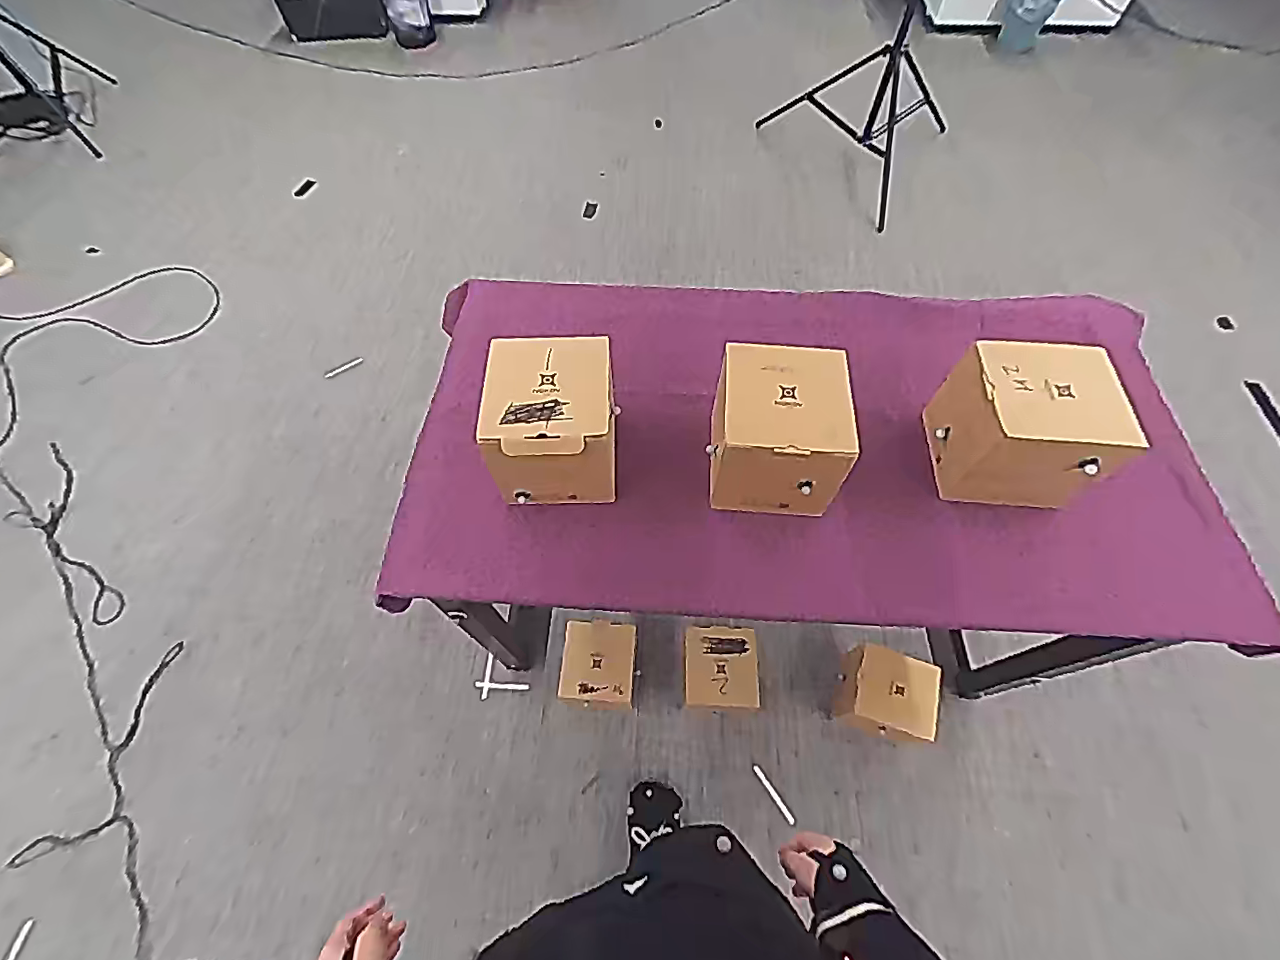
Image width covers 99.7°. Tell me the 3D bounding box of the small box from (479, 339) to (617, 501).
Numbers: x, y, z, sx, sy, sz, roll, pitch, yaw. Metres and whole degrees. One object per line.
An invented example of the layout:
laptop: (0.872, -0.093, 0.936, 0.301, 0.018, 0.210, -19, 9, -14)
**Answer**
small box: (-0.119, -0.079, 0.775, 0.168, 0.176, 0.179, -1, 58, -1)

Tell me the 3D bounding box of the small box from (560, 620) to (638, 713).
small box: (-0.093, 0.456, 1.313, 0.168, 0.176, 0.179, 4, 60, 2)

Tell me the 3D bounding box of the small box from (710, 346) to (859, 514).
small box: (0.192, -0.065, 0.769, 0.168, 0.176, 0.179, 4, 58, 1)

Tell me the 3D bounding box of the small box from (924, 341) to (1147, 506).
small box: (0.541, -0.074, 0.770, 0.179, 0.176, 0.168, 4, 60, 3)

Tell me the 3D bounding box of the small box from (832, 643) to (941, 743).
small box: (0.577, 0.508, 1.280, 0.179, 0.176, 0.168, 17, 62, 11)
